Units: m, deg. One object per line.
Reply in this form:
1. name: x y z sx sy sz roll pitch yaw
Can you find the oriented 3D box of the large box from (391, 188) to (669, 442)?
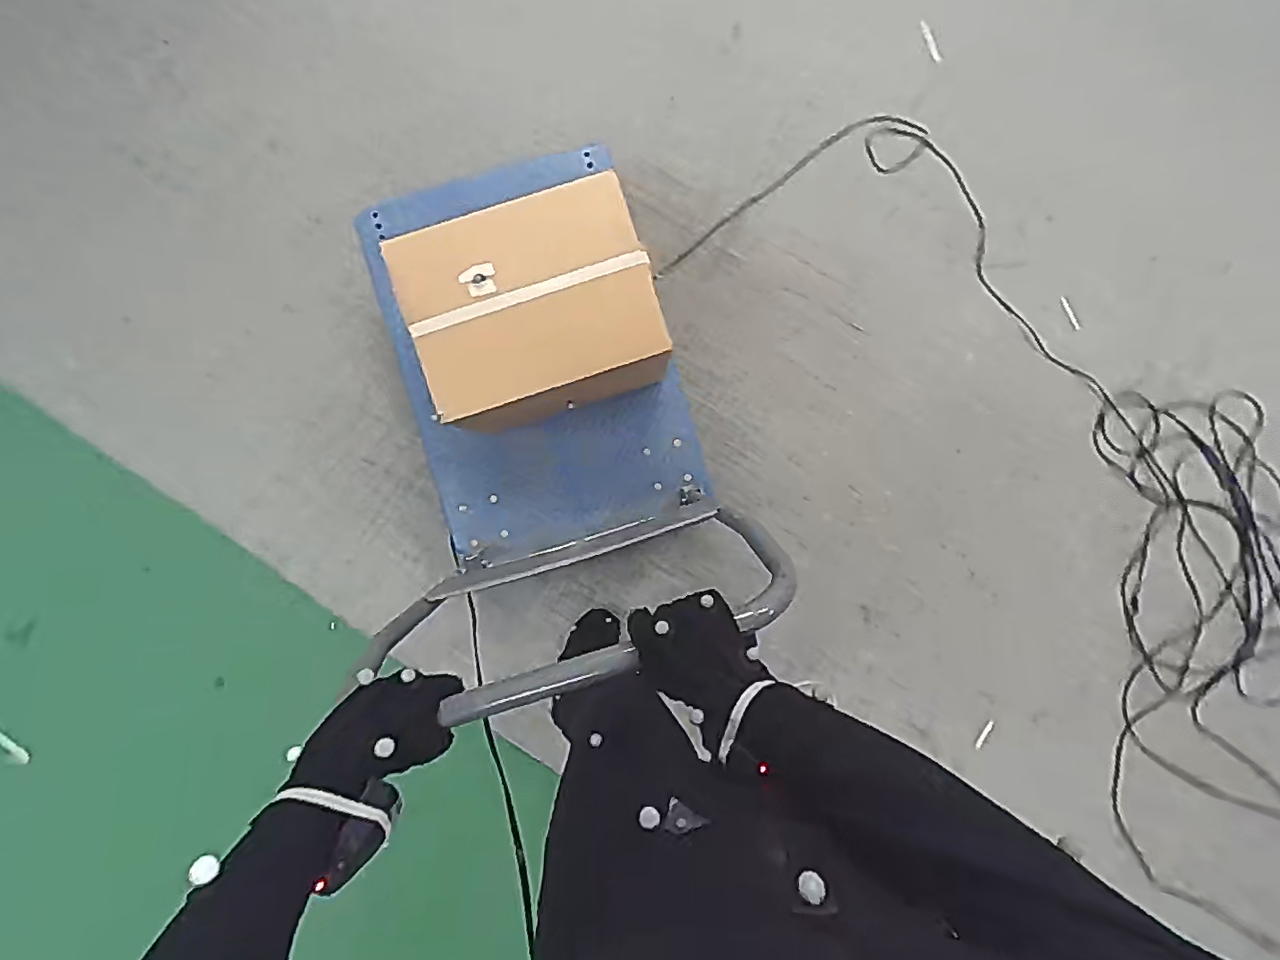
1. large box: -0.184 -0.287 1.058 0.408 0.320 0.320 -19 90 0
